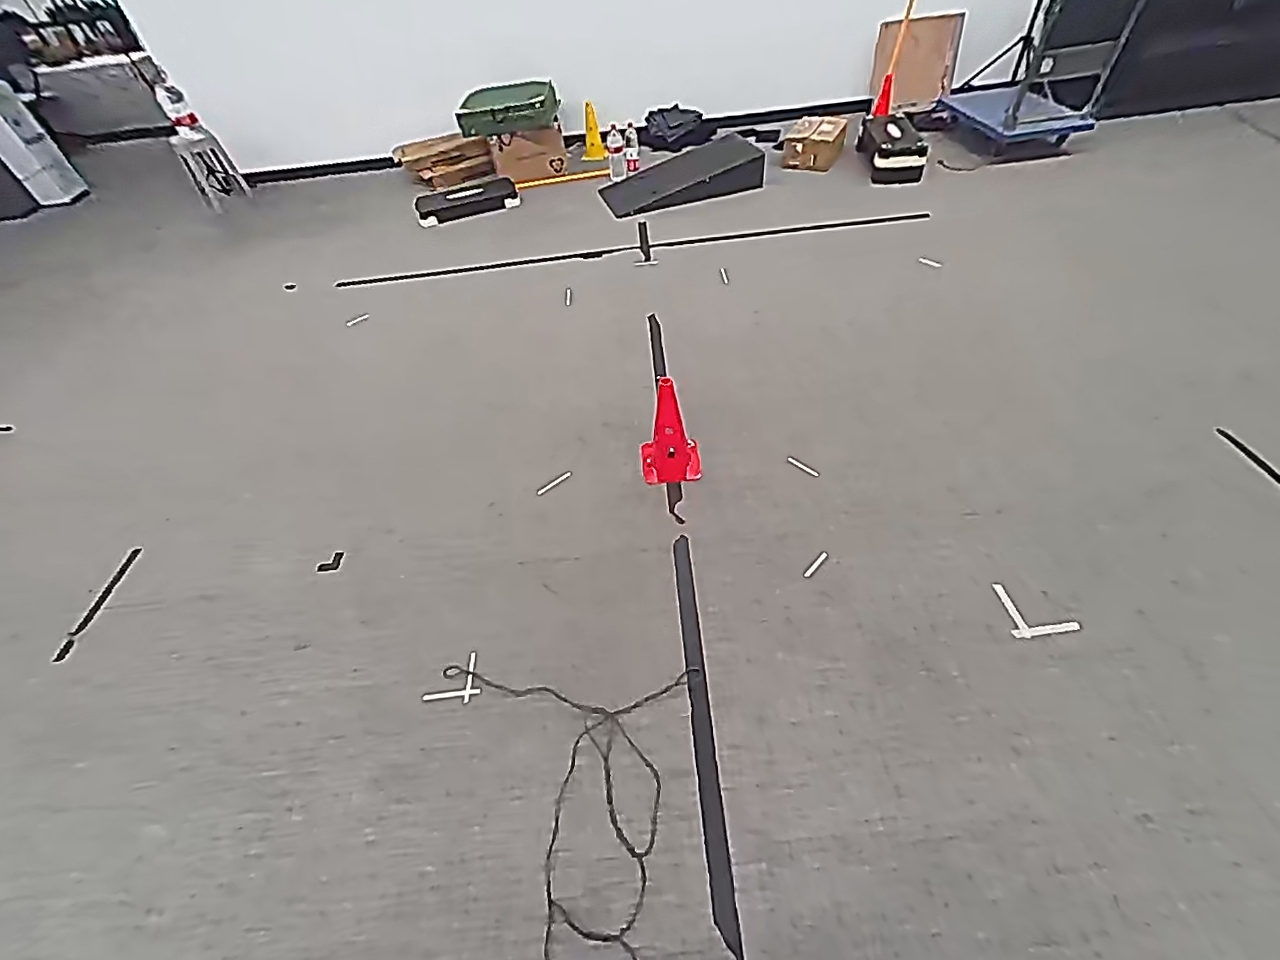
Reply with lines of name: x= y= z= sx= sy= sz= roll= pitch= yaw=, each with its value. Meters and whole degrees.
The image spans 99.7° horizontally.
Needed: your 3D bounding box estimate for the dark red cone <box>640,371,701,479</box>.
dark red cone: x=0.088 y=-0.192 z=1.766 sx=0.201 sy=0.394 sz=0.202 roll=-7 pitch=48 yaw=2
